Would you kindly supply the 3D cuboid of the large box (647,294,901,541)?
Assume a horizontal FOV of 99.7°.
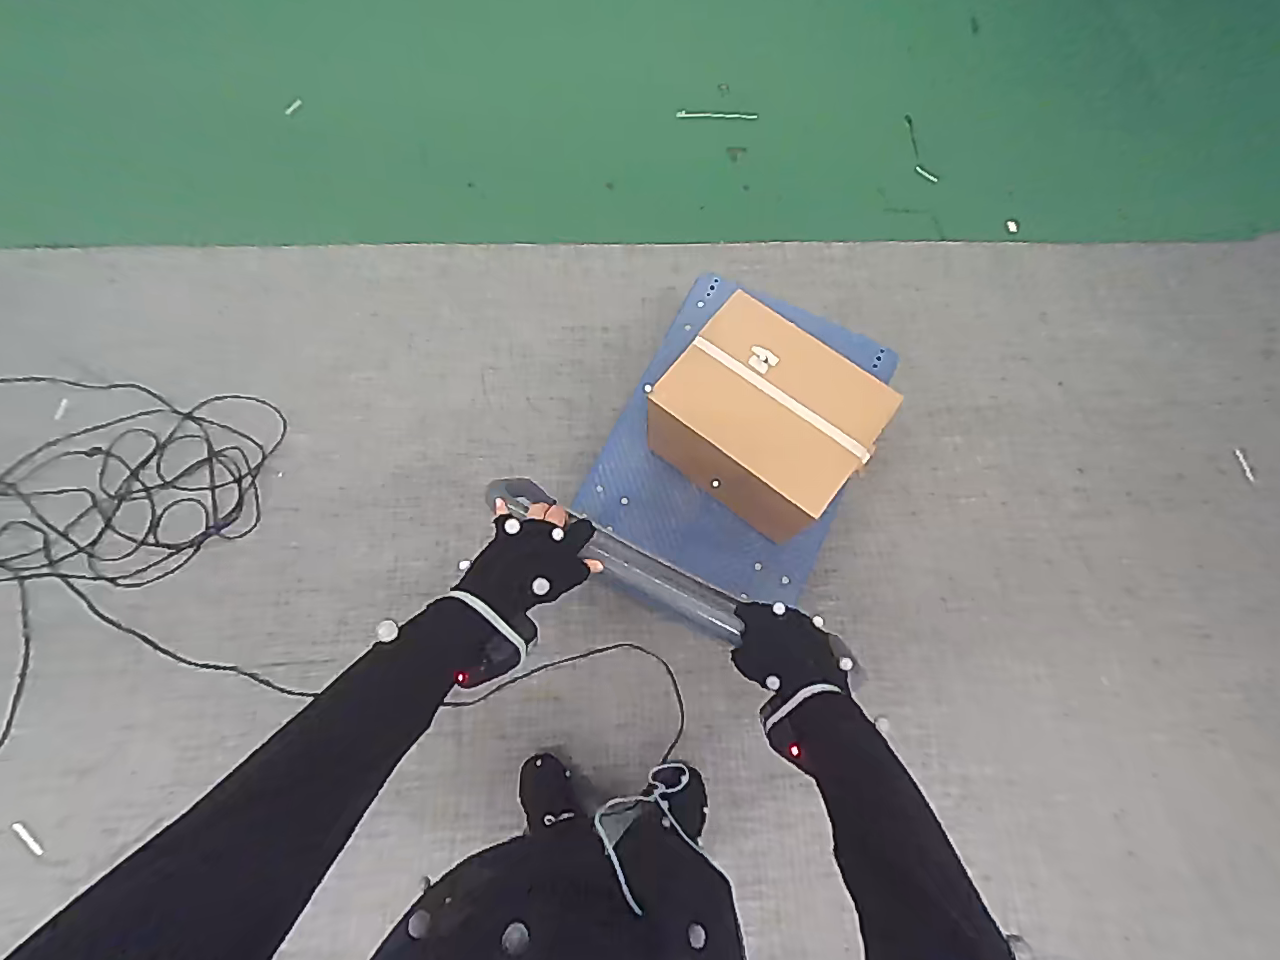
[{"bbox_3d":[0.268,-0.118,1.199,0.408,0.320,0.320,38,79,11],"label":"large box"}]
